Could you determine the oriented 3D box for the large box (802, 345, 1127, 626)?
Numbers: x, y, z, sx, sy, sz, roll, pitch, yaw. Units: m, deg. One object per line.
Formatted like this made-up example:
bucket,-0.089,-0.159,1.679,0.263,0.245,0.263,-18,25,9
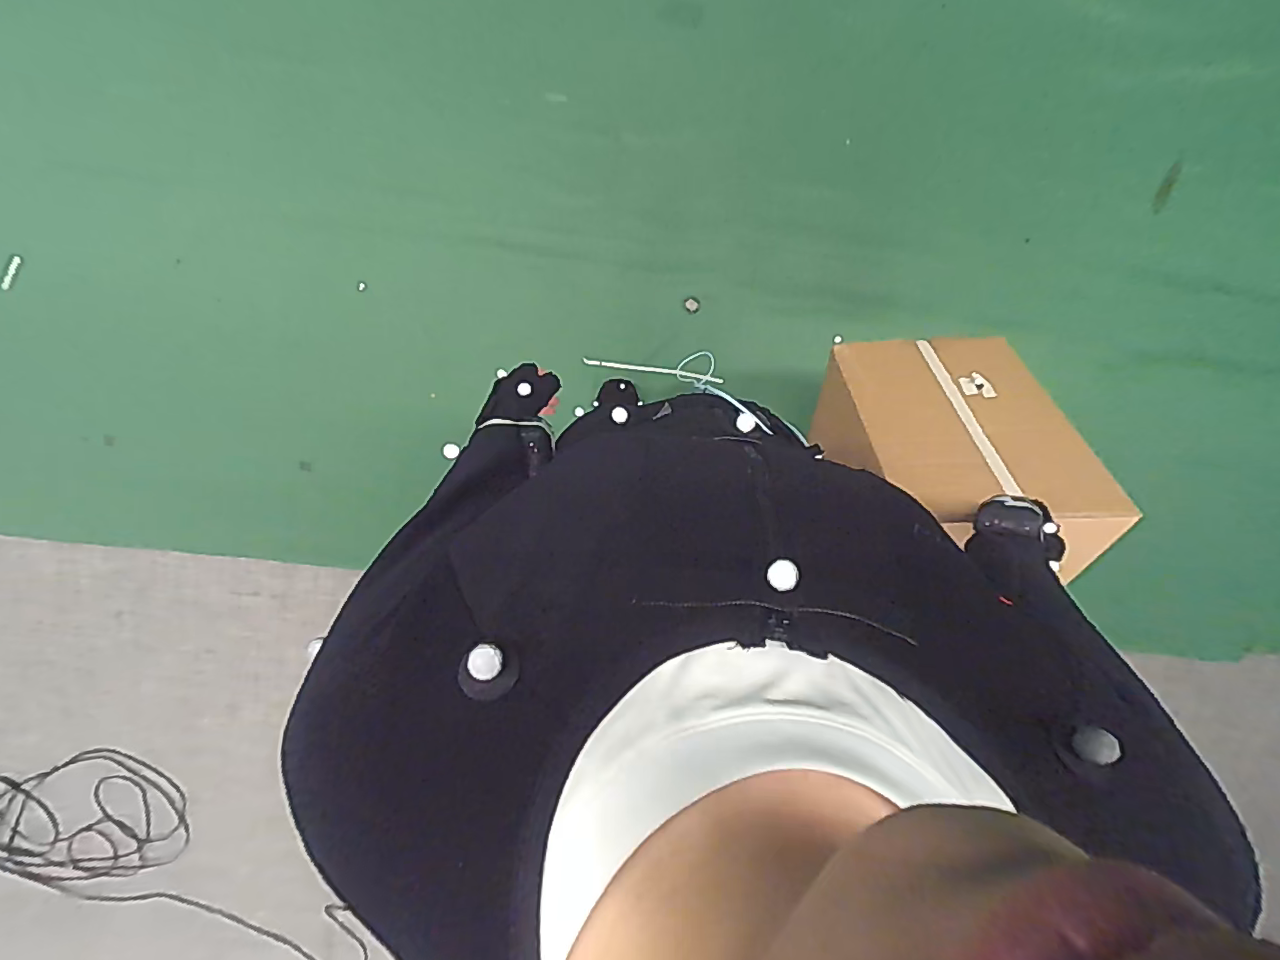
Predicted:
large box,0.508,0.007,0.969,0.320,0.408,0.320,-1,138,1
